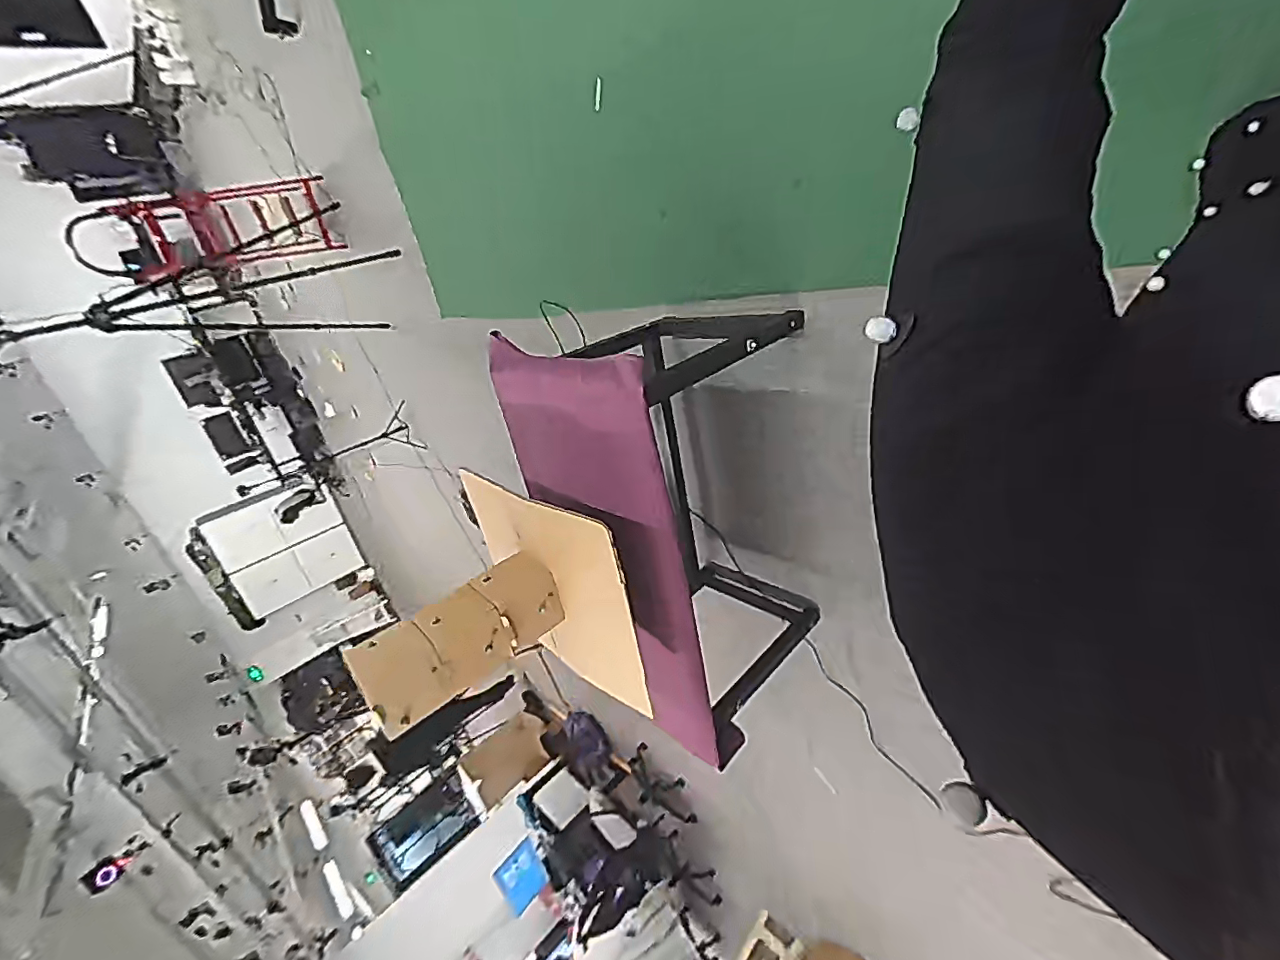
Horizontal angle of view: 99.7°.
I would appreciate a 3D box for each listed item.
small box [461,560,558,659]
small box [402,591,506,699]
[{"bbox_3d":[-0.348,0.338,1.456,0.179,0.176,0.168,18,129,45],"label":"small box"},{"bbox_3d":[-0.466,0.406,1.366,0.179,0.176,0.168,17,127,46],"label":"small box"}]
